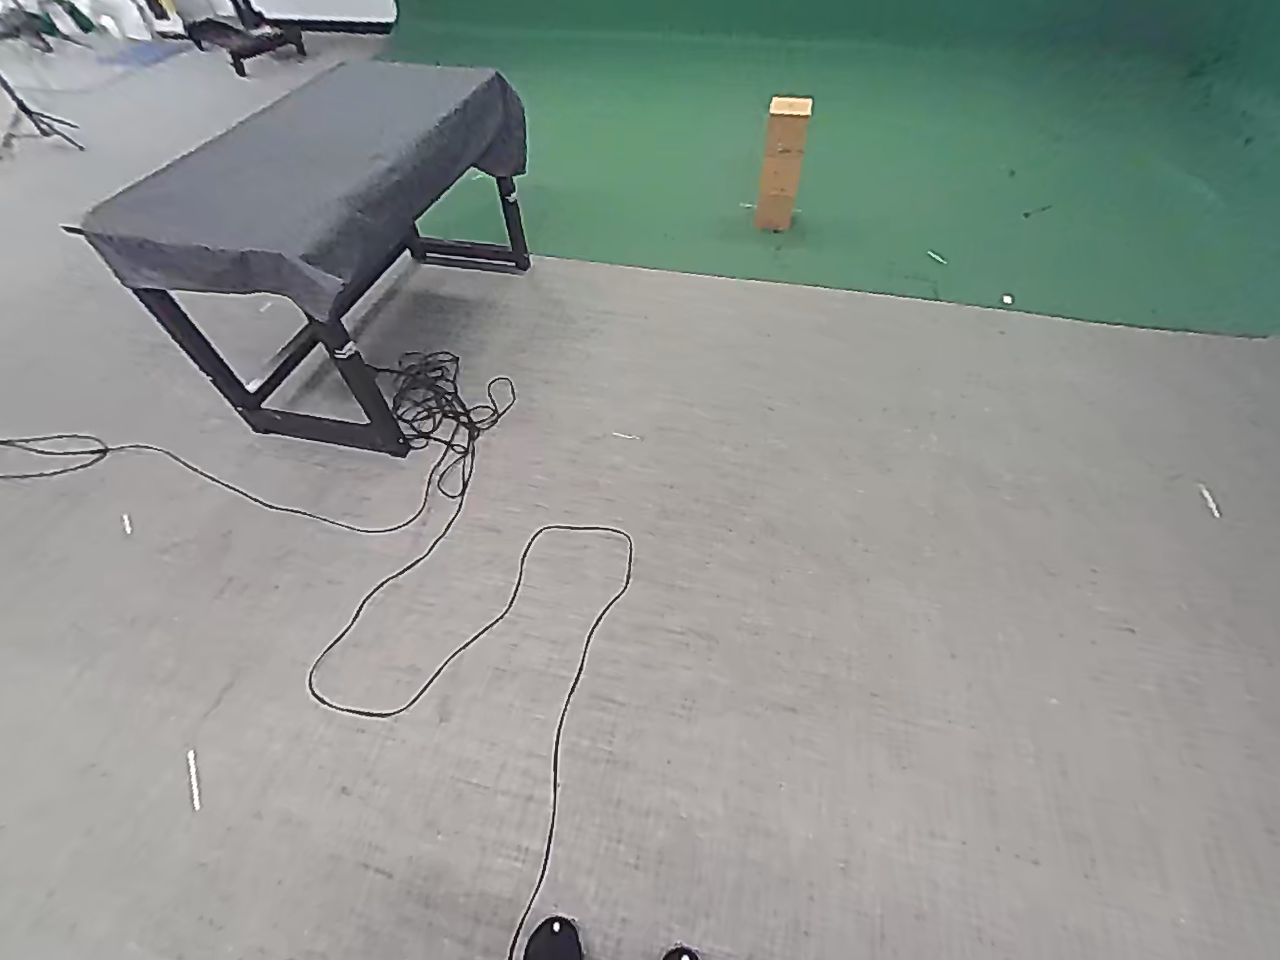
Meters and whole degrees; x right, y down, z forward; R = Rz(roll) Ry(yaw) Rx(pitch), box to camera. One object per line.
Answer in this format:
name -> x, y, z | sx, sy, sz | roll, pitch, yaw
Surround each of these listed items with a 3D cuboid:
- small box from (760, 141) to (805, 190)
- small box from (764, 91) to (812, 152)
small box -> 0.637, -1.427, 2.426 | 0.168, 0.176, 0.179 | 11, 54, 11
small box -> 0.626, -1.521, 2.293 | 0.168, 0.176, 0.179 | 9, 55, 10
